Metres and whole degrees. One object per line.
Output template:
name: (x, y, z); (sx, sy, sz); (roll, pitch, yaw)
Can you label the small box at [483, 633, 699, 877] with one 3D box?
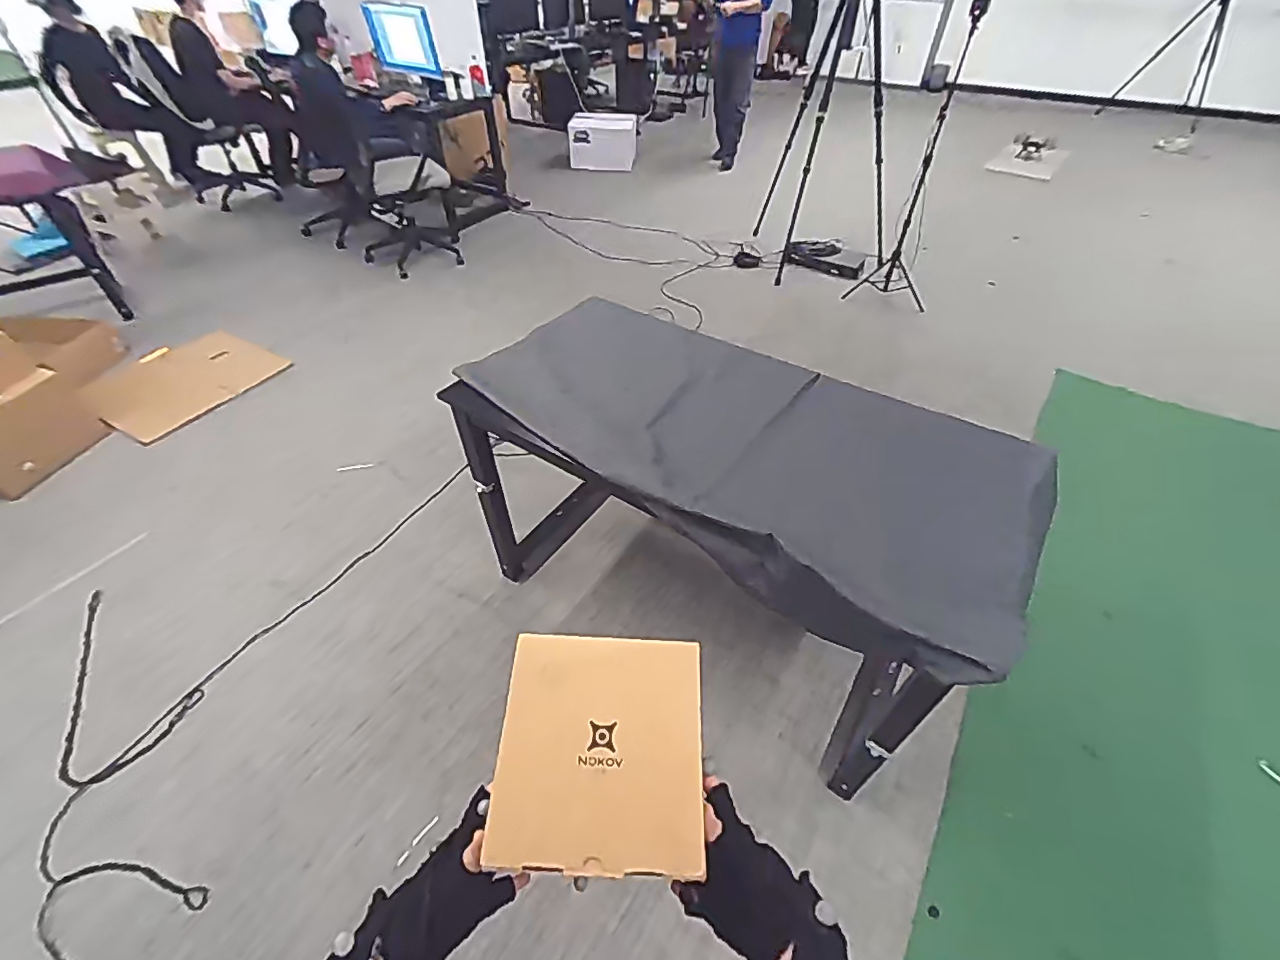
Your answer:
small box: (-0.037, 0.264, 0.516); (0.168, 0.176, 0.179); (4, 56, -1)
